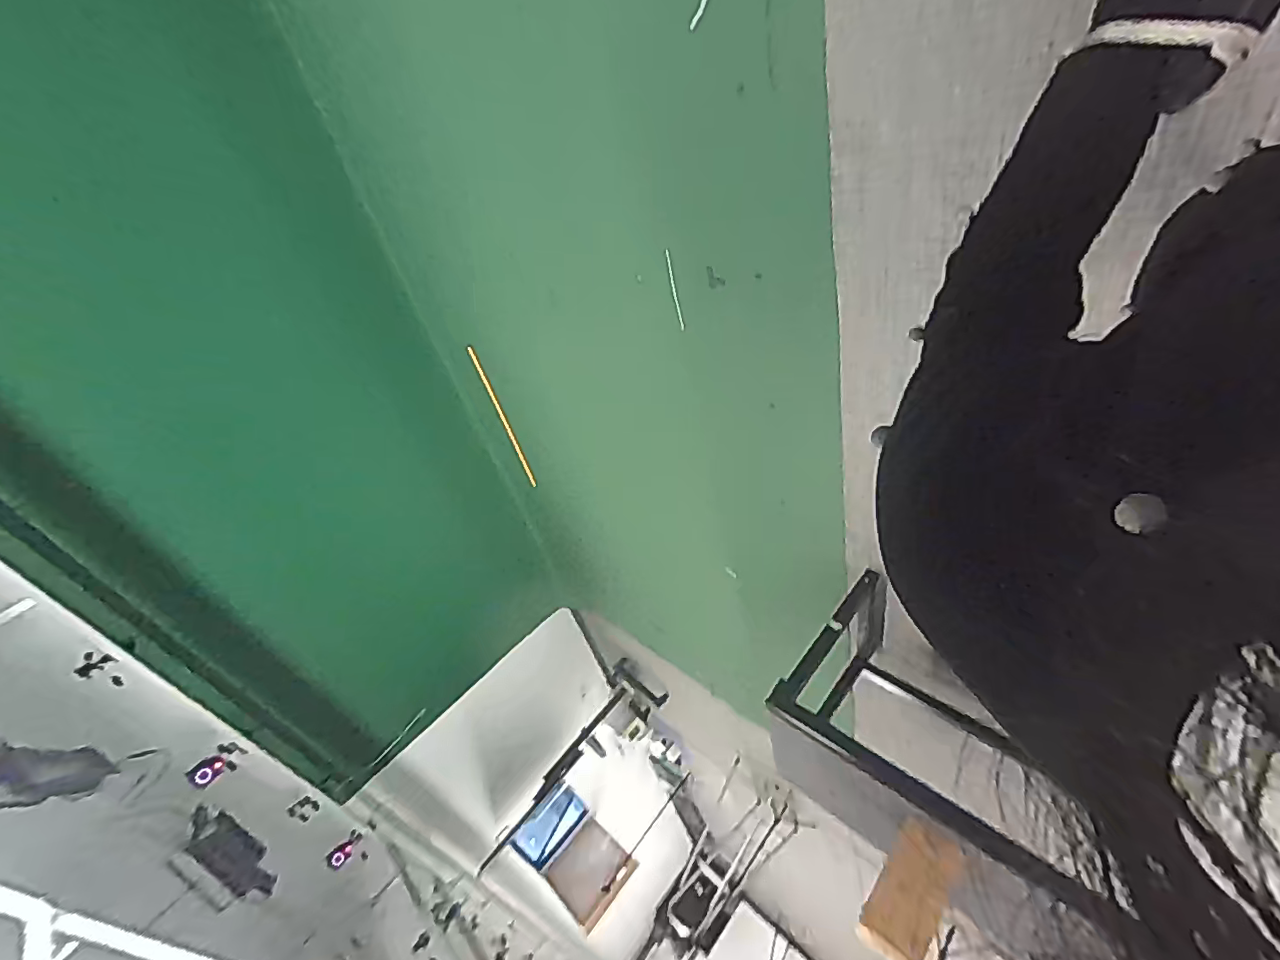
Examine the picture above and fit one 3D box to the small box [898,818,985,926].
[{"bbox_3d":[0.875,1.136,1.571,0.168,0.176,0.179,23,144,39],"label":"small box"}]
